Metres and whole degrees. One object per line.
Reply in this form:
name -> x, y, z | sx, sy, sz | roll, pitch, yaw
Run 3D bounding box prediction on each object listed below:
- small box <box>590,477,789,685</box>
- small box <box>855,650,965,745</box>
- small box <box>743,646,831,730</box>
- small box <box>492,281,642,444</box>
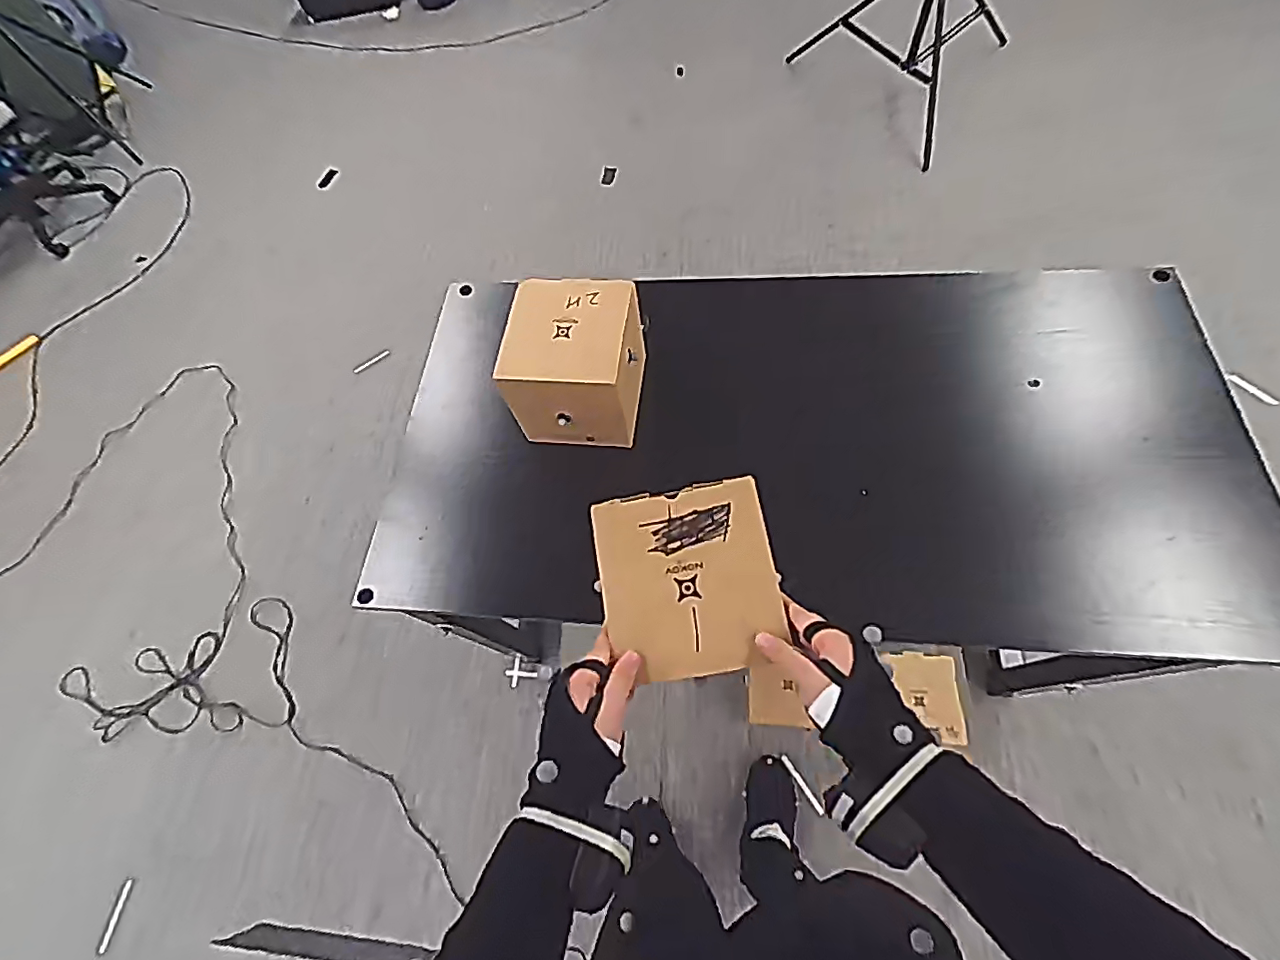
small box -> 0.049, 0.114, 0.585 | 0.168, 0.176, 0.179 | -11, 73, 3
small box -> 0.591, 0.489, 1.209 | 0.168, 0.176, 0.179 | 0, 64, 8
small box -> 0.331, 0.480, 1.248 | 0.179, 0.176, 0.168 | 0, 64, 8
small box -> -0.093, -0.167, 0.796 | 0.168, 0.176, 0.179 | 4, 65, 8
